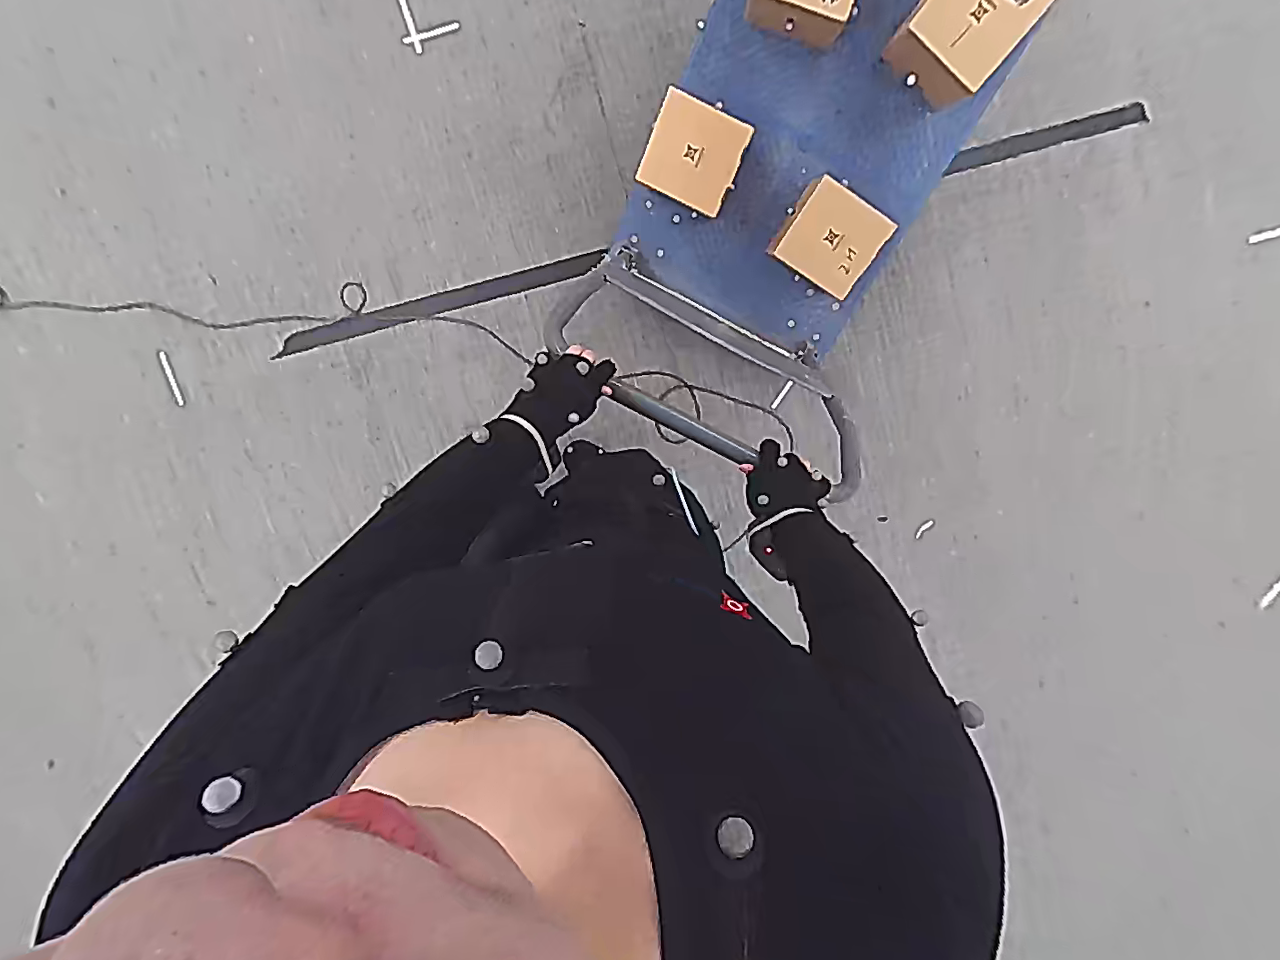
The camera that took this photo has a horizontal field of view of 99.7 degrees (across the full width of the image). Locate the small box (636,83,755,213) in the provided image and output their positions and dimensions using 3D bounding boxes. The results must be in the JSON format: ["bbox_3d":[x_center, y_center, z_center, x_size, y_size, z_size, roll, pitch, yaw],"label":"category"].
[{"bbox_3d":[0.109,-0.655,1.092,0.179,0.176,0.168,23,115,-6],"label":"small box"}]

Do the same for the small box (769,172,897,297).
[{"bbox_3d":[0.388,-0.506,1.127,0.179,0.176,0.168,31,115,-8],"label":"small box"}]

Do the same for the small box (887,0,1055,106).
[{"bbox_3d":[0.577,-0.813,0.960,0.168,0.176,0.179,36,115,-10],"label":"small box"}]
